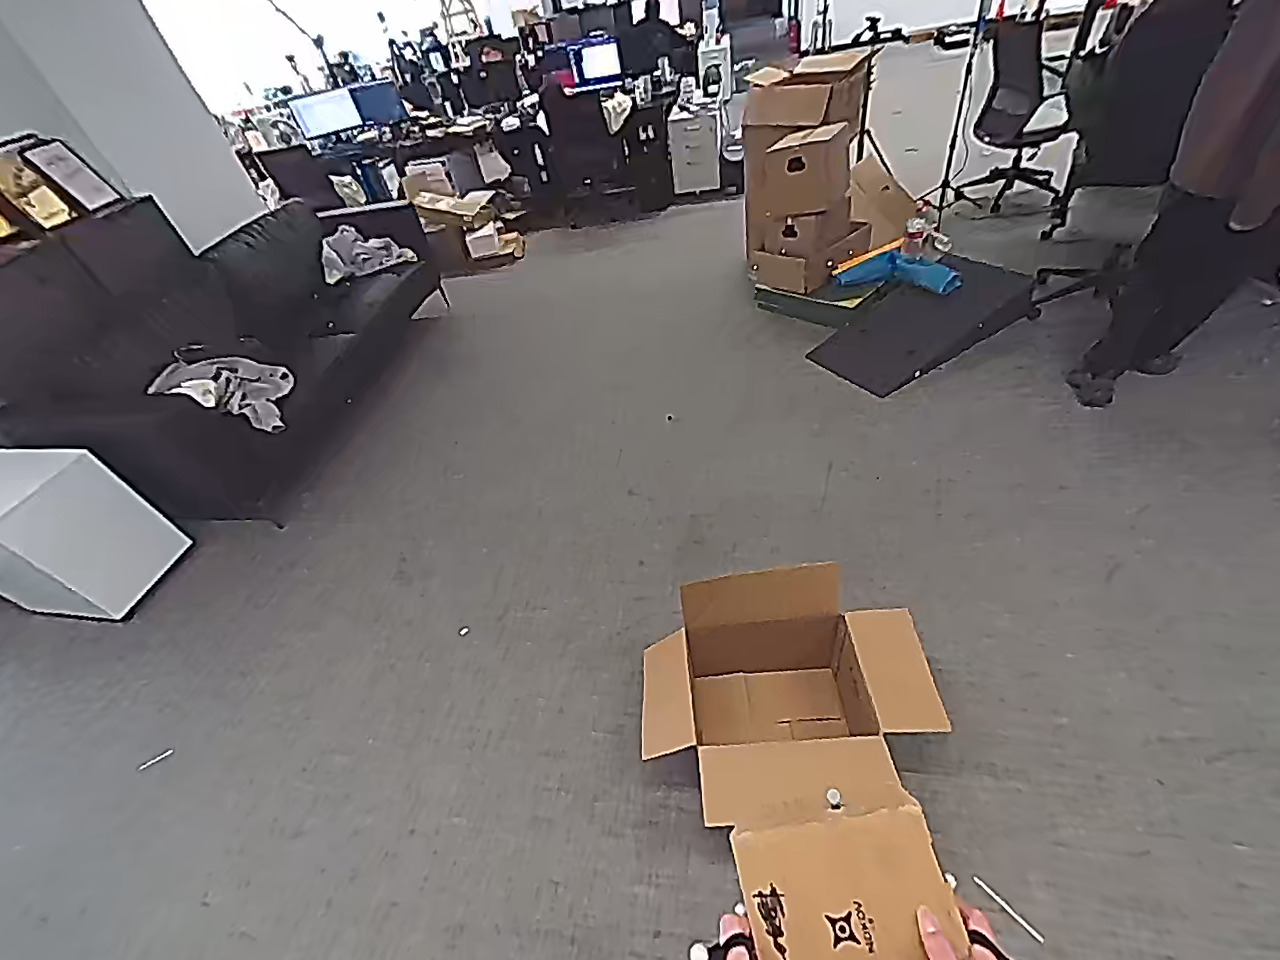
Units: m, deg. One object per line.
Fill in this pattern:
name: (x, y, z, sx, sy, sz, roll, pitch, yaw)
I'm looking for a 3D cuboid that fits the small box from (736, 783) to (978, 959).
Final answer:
small box: (0.207, 0.414, 0.537, 0.179, 0.176, 0.168, -17, 63, 10)
